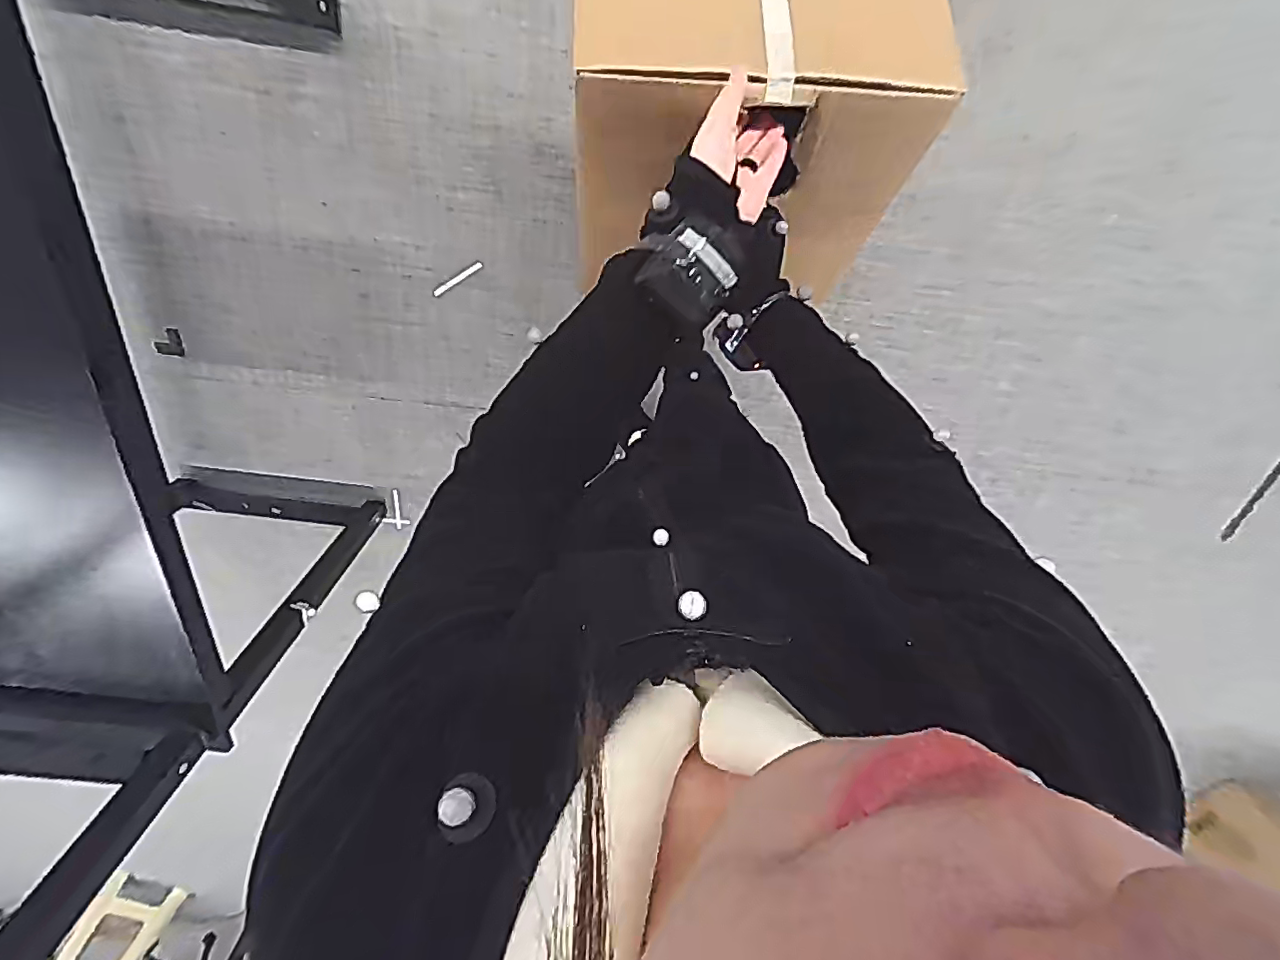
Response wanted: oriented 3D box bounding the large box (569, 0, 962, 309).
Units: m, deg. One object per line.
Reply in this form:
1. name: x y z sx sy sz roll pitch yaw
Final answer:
1. large box: 0.086 -0.450 0.609 0.320 0.408 0.320 0 163 -5
